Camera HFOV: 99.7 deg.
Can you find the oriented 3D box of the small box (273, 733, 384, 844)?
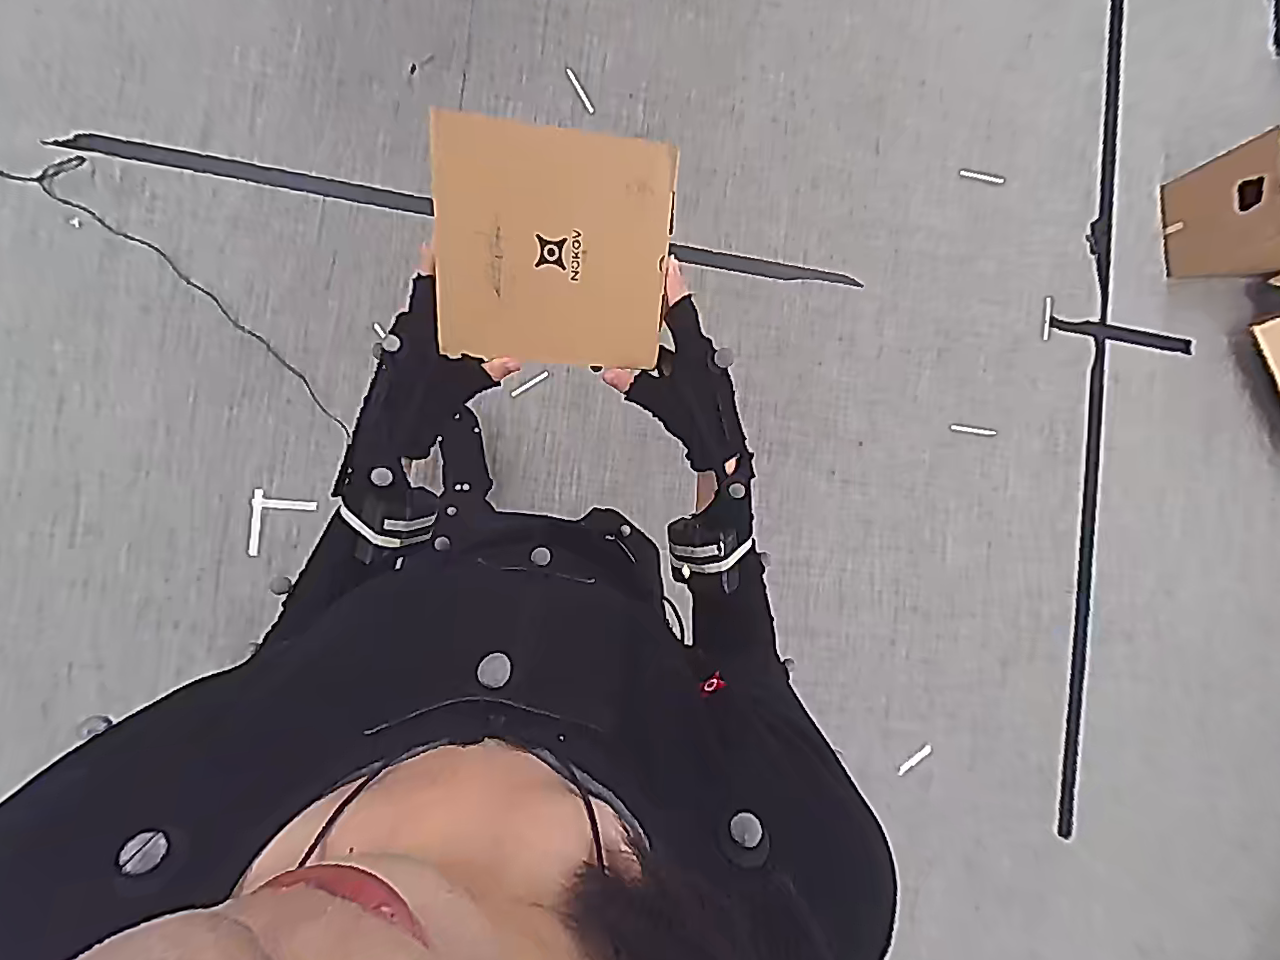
[{"bbox_3d":[-0.729,0.724,1.285,0.168,0.176,0.179,9,85,-7],"label":"small box"}]

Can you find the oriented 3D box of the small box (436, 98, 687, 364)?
[{"bbox_3d":[-0.071,-0.200,0.472,0.179,0.176,0.168,1,108,-10],"label":"small box"}]
